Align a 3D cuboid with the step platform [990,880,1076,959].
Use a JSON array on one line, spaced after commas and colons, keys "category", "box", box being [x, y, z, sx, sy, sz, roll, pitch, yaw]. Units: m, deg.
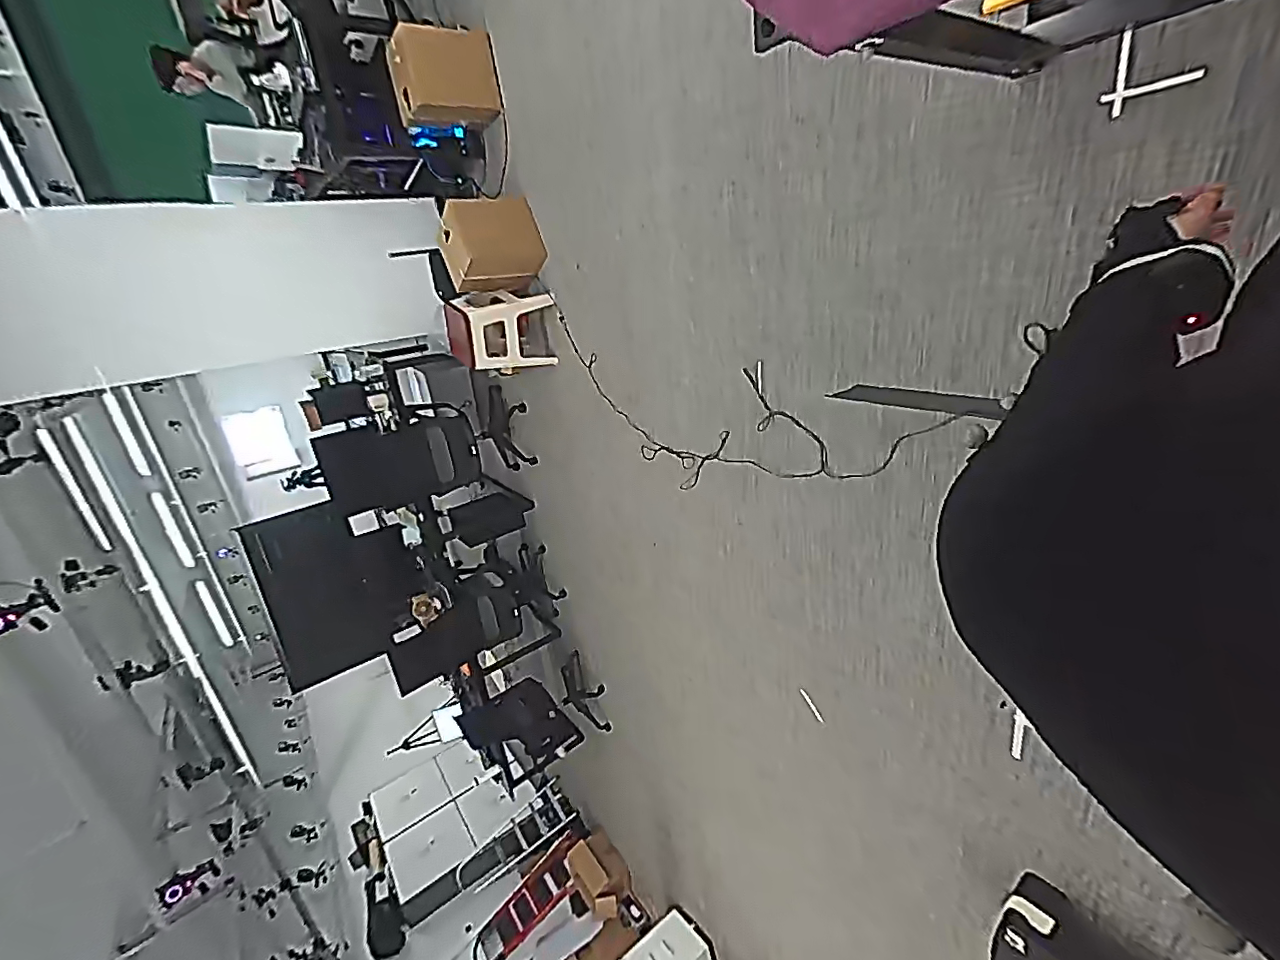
[{"category": "step platform", "box": [1.292, 1.422, 1.375, 0.684, 0.204, 0.286, 20, 125, 50]}]
